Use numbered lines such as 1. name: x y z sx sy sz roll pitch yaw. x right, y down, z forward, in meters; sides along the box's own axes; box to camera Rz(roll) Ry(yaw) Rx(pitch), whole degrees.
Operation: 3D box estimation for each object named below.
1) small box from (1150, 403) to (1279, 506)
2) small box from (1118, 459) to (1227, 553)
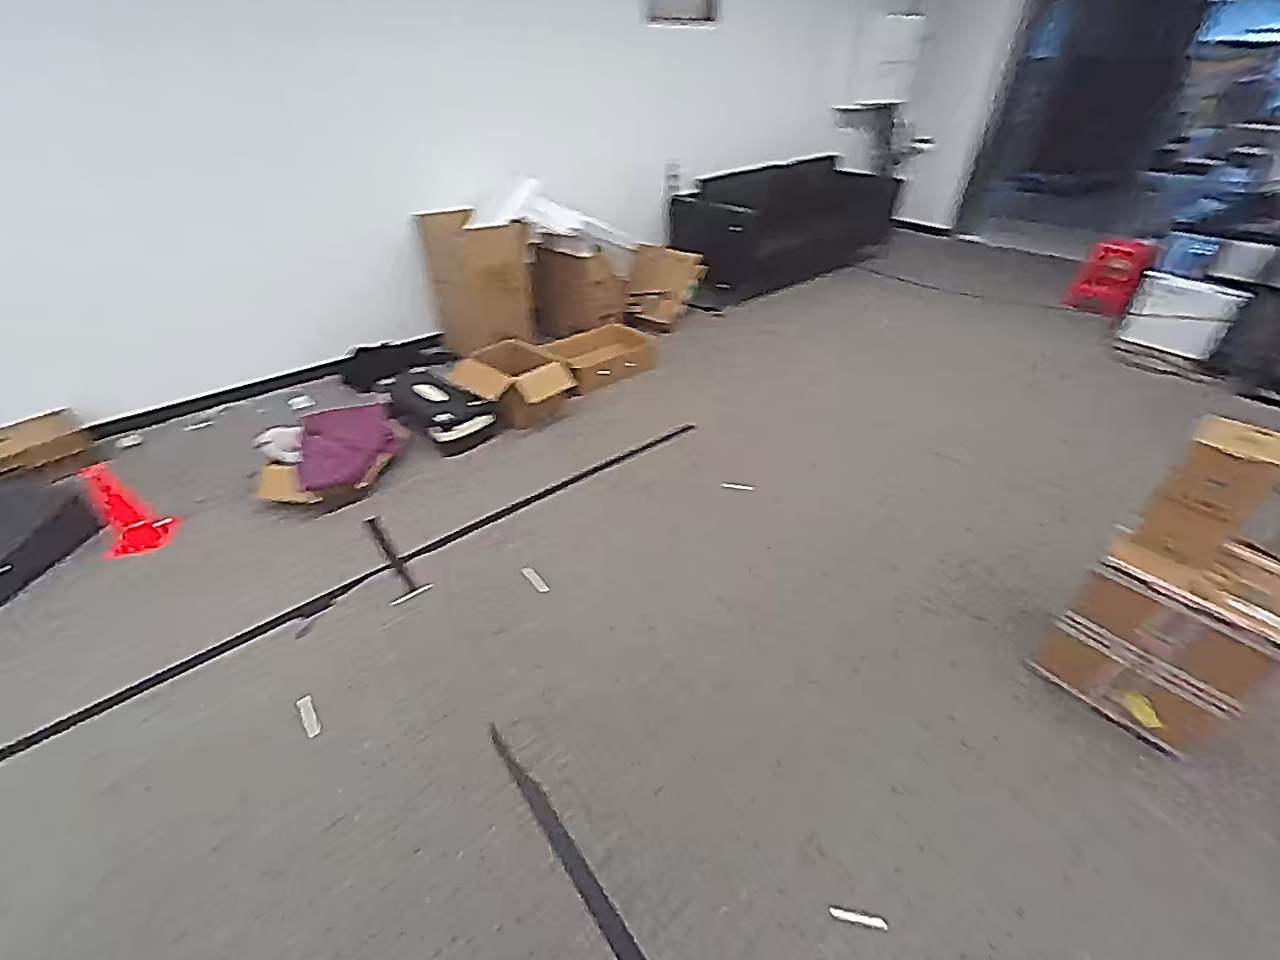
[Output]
1. small box: 1.430 -0.063 1.349 0.179 0.176 0.168 -30 44 -28
2. small box: 1.443 0.061 1.457 0.179 0.176 0.168 -31 44 -30
